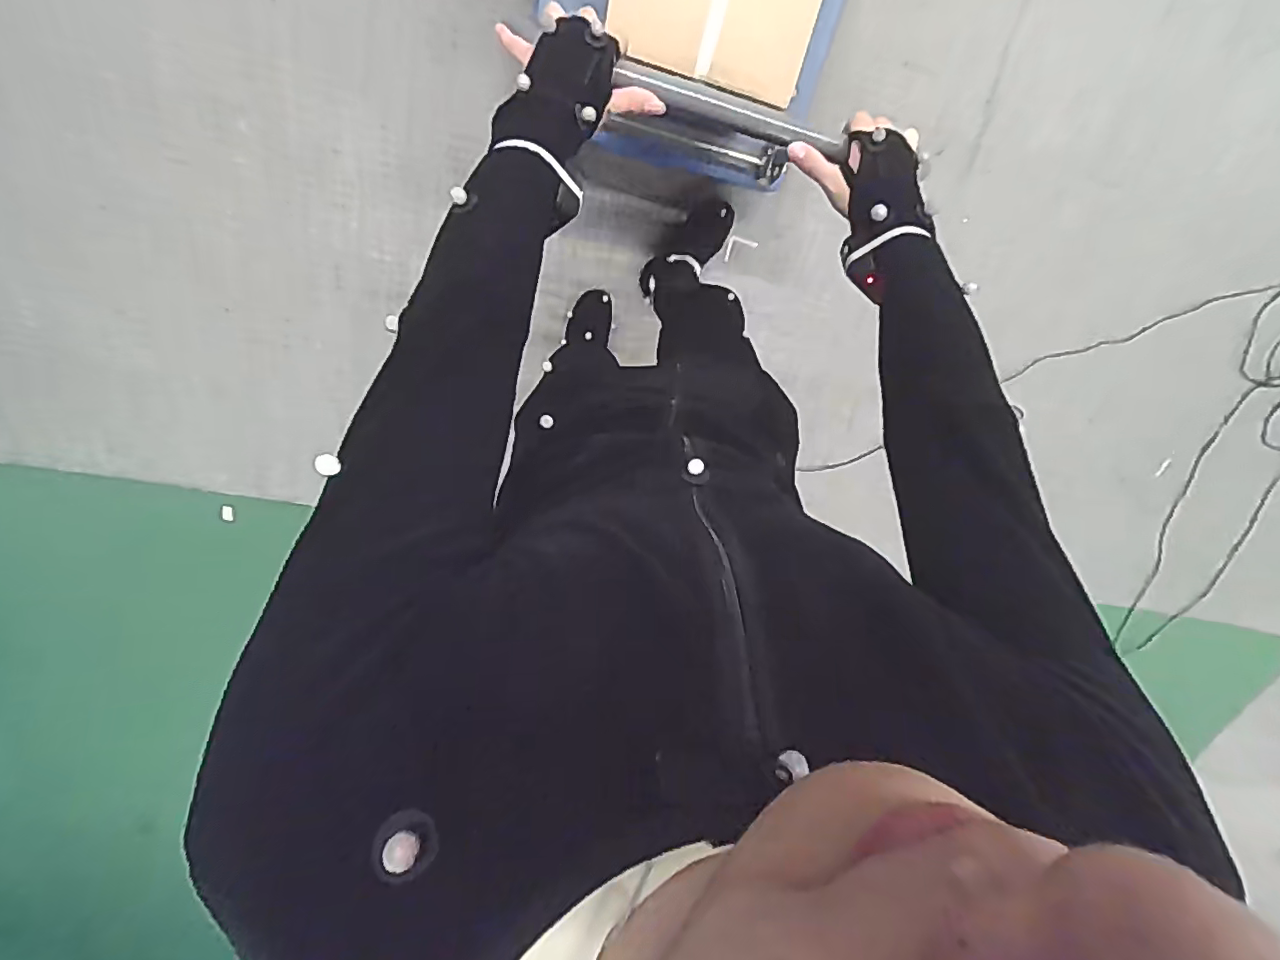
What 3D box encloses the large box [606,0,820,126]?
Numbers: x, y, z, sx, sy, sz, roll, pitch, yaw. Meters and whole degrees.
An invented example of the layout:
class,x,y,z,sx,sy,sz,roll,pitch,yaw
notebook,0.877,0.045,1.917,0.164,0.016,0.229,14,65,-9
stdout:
class,x,y,z,sx,sy,sz,roll,pitch,yaw
large box,0.128,-0.873,0.897,0.320,0.320,0.408,10,115,-10
